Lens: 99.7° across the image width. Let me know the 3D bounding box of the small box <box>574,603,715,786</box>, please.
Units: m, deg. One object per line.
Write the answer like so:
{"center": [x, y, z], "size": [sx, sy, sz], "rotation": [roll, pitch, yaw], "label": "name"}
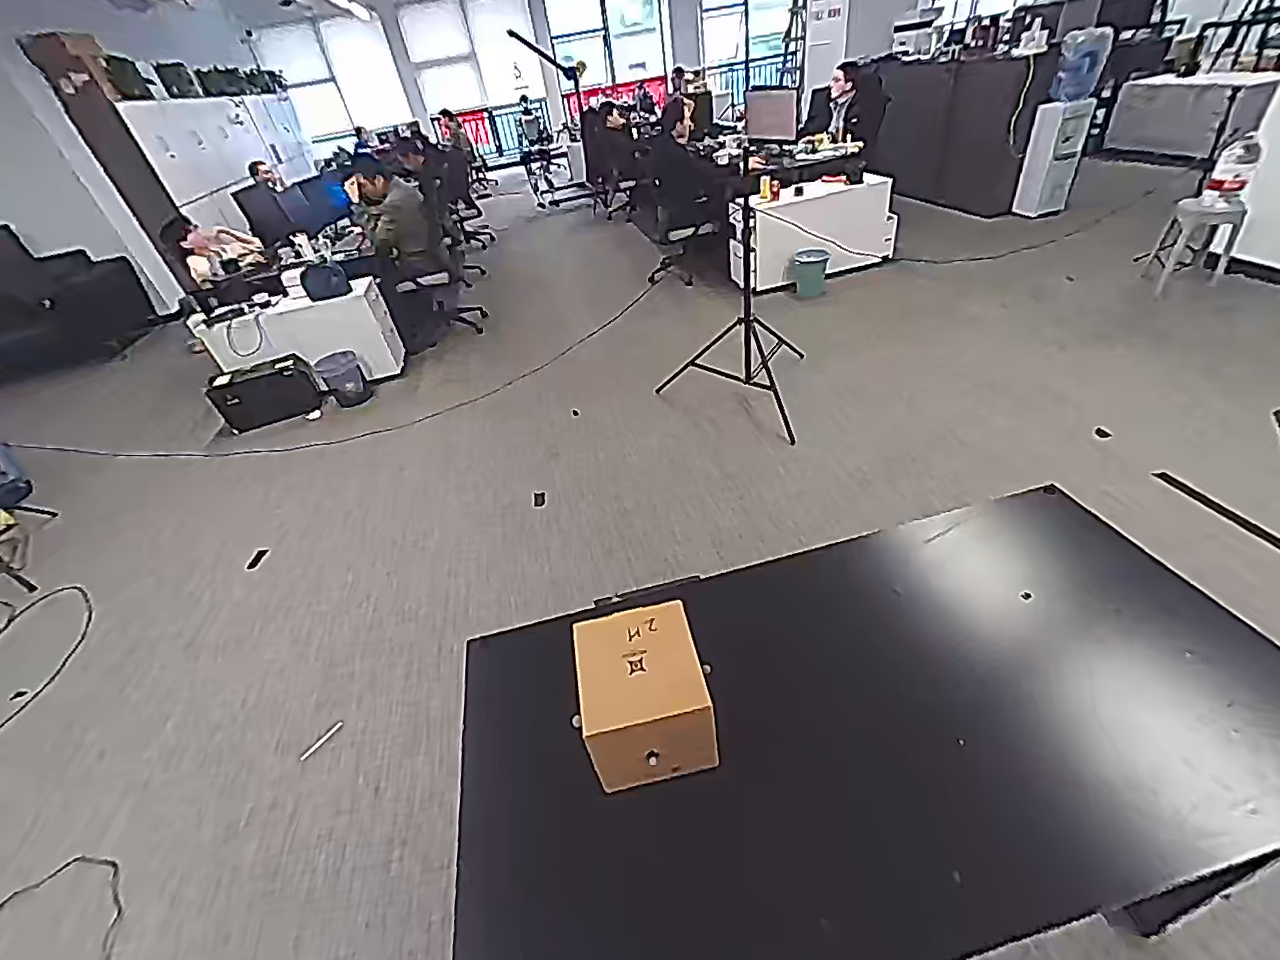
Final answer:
{"center": [0.007, 0.314, 0.783], "size": [0.168, 0.176, 0.179], "rotation": [-13, 37, -3], "label": "small box"}
